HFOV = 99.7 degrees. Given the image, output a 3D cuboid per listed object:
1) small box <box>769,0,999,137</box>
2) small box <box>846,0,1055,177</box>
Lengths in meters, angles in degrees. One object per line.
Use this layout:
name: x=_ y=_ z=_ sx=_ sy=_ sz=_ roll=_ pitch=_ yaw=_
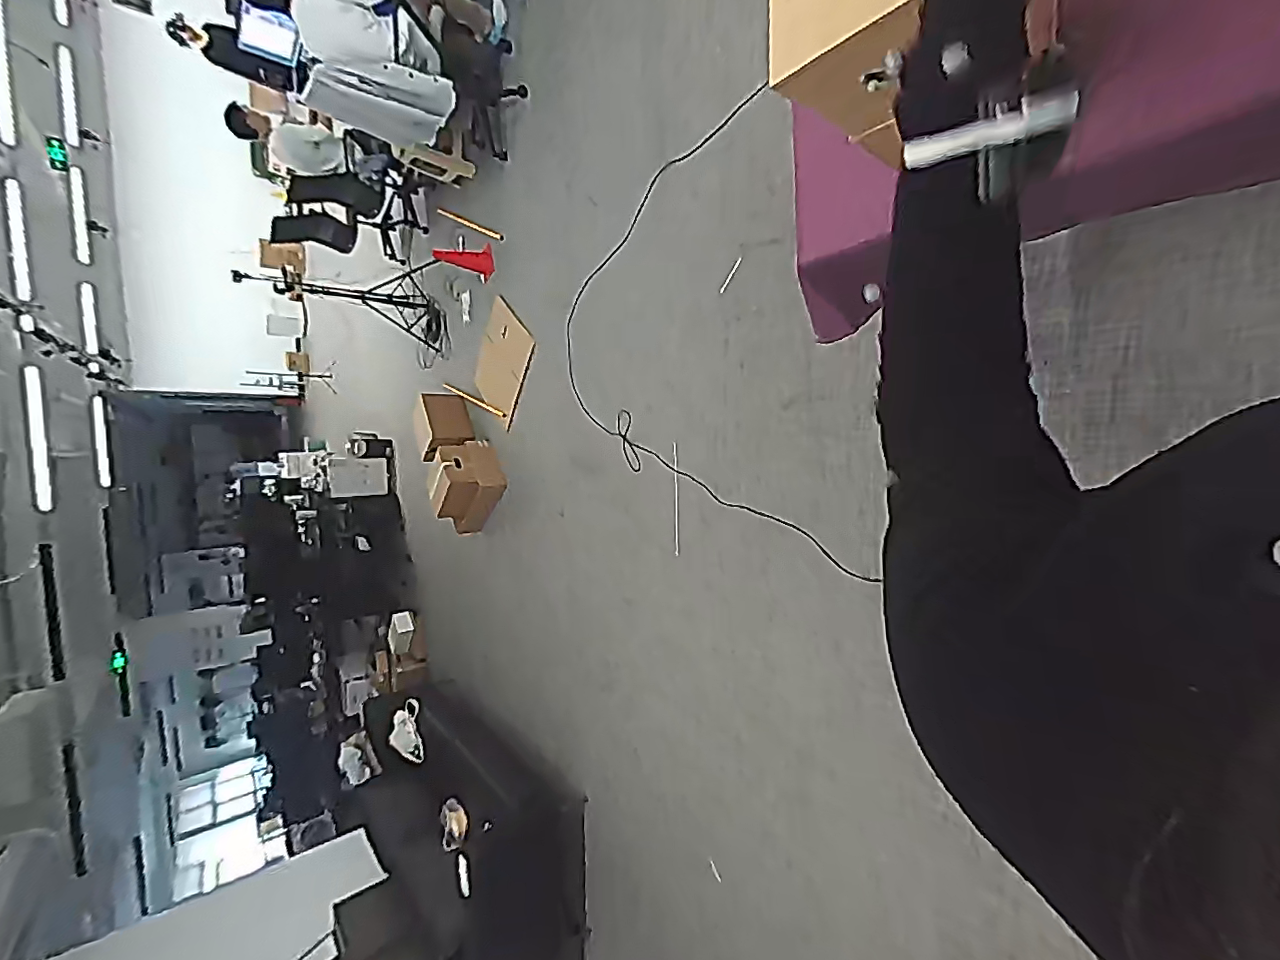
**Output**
small box: x=0.257 y=-0.500 z=0.565 sx=0.179 sy=0.176 sz=0.168 roll=4 pitch=97 yaw=52
small box: x=0.381 y=-0.508 z=0.672 sx=0.179 sy=0.176 sz=0.168 roll=5 pitch=98 yaw=50
